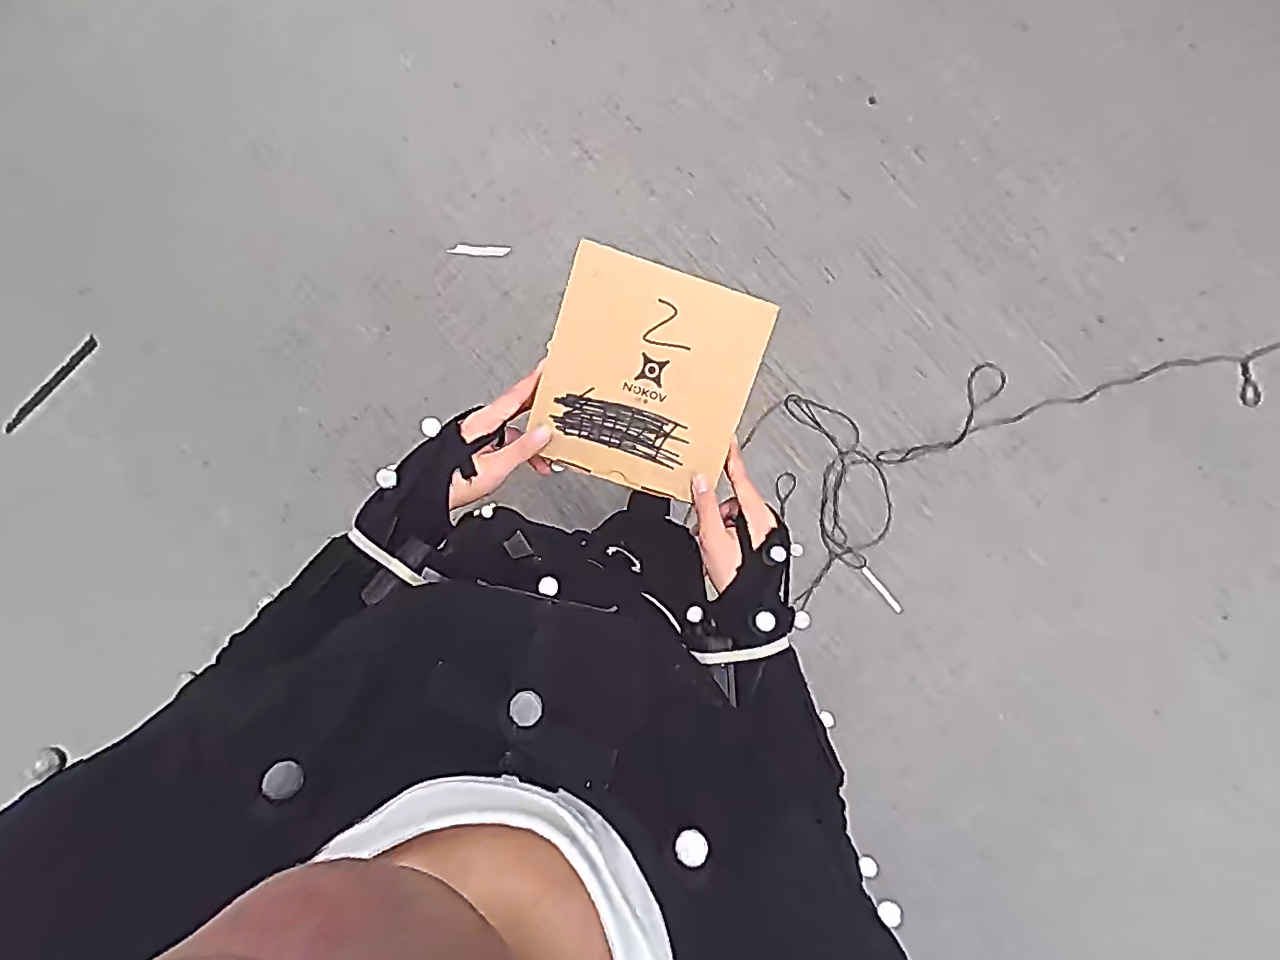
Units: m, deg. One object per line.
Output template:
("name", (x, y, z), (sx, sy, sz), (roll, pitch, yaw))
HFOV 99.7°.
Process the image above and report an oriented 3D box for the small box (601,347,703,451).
("small box", (0.035, -0.182, 1.285), (0.179, 0.176, 0.168), (-42, 88, 4))
